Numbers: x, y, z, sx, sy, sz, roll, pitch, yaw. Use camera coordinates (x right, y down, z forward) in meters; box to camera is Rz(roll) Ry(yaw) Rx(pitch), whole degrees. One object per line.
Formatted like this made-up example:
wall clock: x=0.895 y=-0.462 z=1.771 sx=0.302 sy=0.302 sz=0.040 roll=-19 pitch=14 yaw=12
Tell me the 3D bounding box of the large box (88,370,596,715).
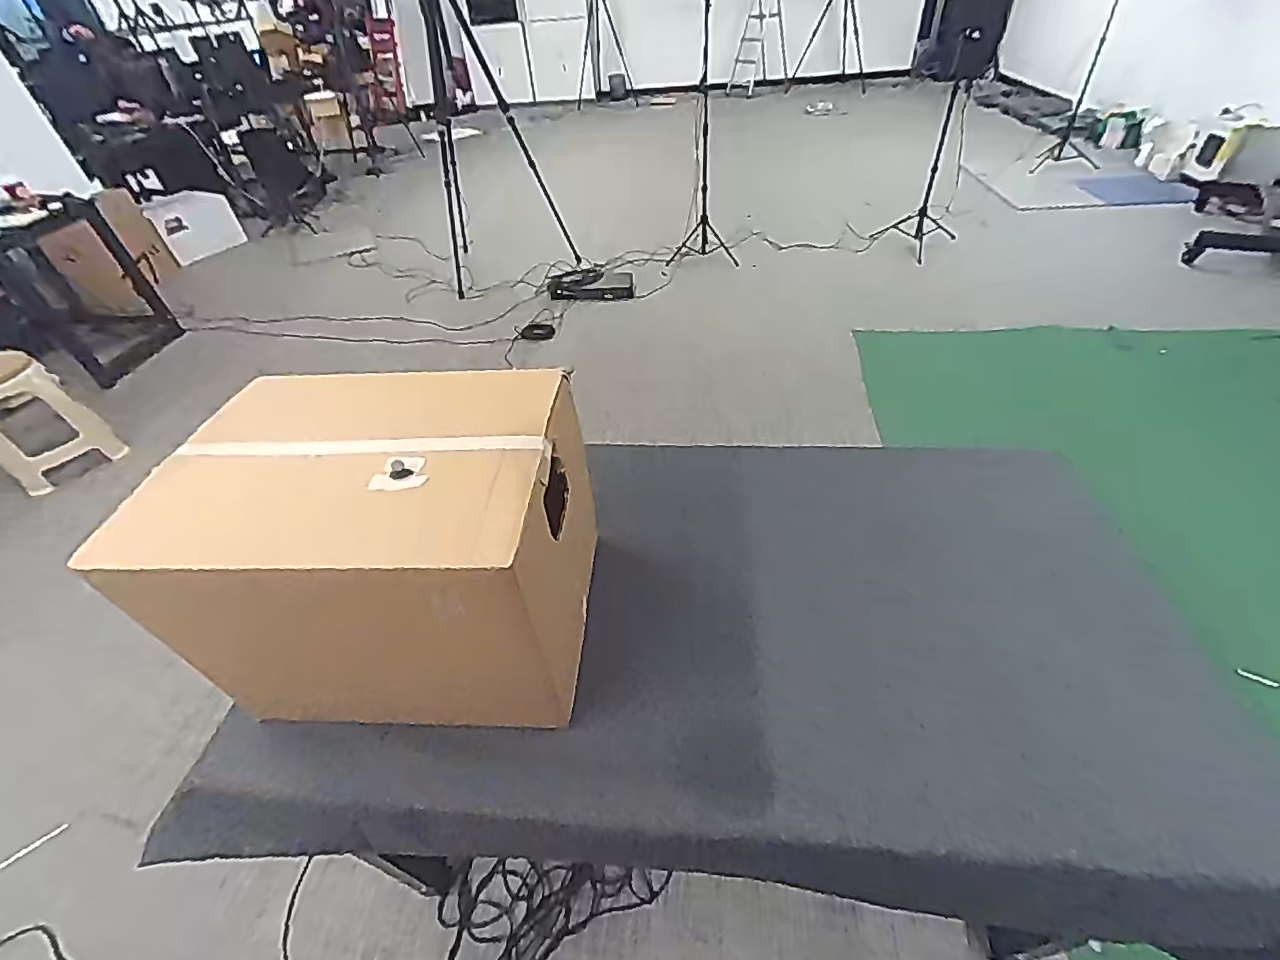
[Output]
large box: x=-0.280 y=0.077 z=0.673 sx=0.408 sy=0.320 sz=0.320 roll=0 pitch=43 yaw=3
